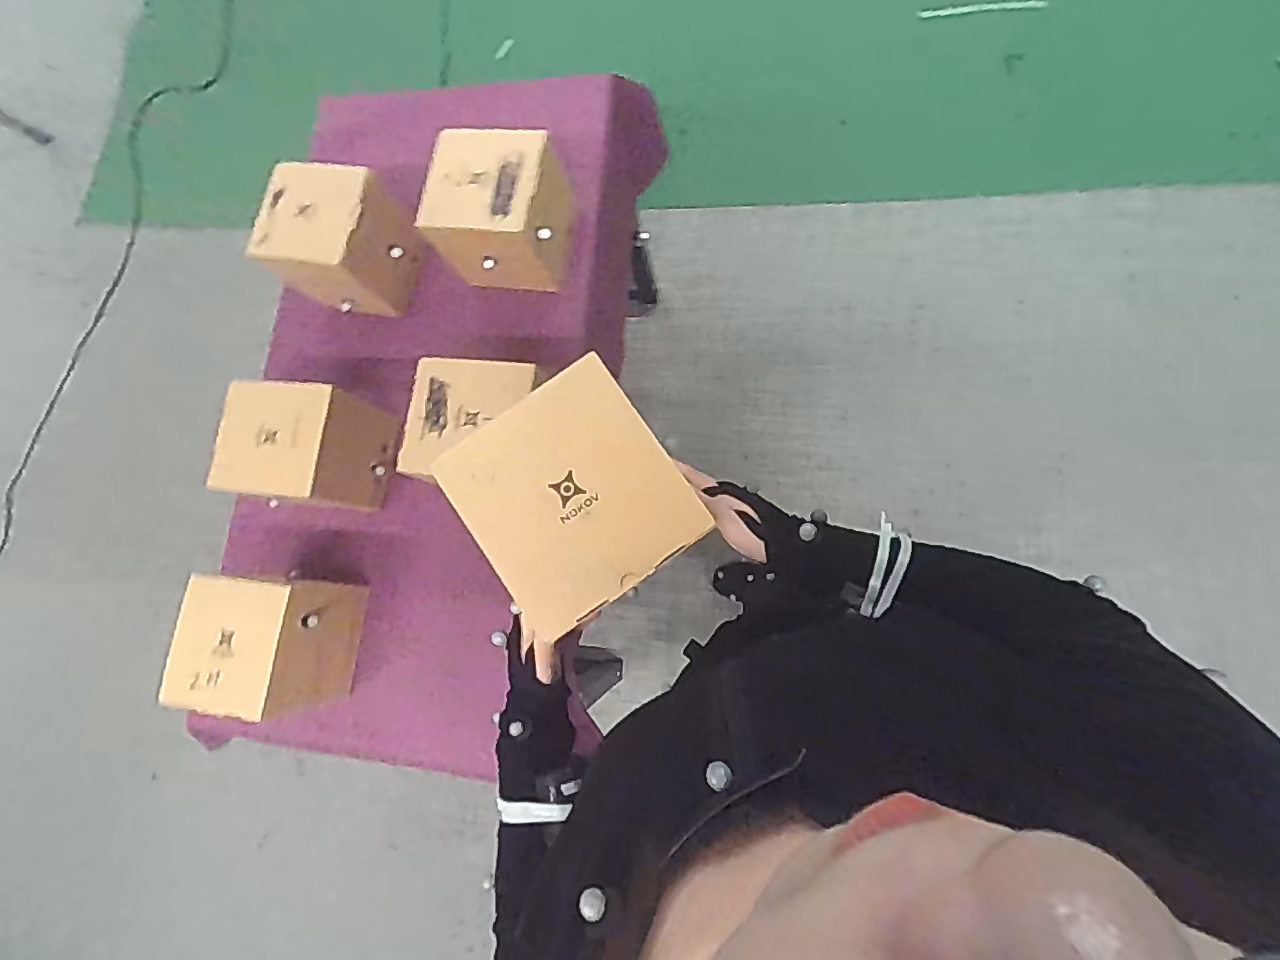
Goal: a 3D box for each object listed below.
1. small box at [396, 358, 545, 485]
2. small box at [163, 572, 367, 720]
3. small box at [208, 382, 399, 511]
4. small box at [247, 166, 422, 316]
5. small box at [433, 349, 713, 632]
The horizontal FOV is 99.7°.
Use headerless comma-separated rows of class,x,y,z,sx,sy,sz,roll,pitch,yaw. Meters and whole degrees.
small box,-0.222,-0.070,0.805,0.179,0.176,0.168,5,81,11
small box,-0.542,0.236,0.807,0.168,0.176,0.179,4,80,12
small box,-0.522,-0.046,0.861,0.179,0.176,0.168,5,81,11
small box,-0.505,-0.397,0.922,0.179,0.176,0.168,10,81,12
small box,-0.054,0.015,0.508,0.168,0.176,0.179,-34,84,-2
